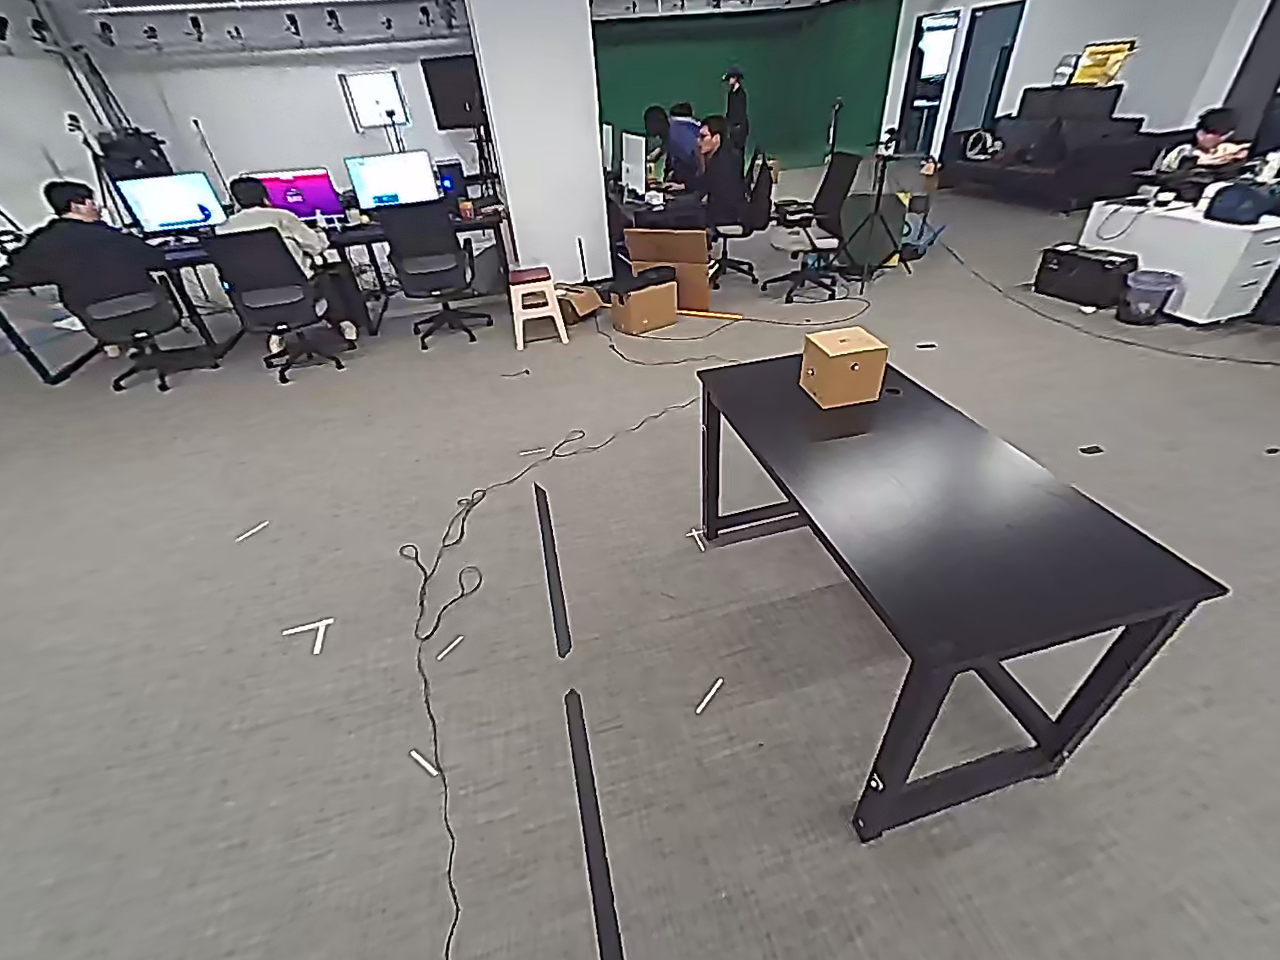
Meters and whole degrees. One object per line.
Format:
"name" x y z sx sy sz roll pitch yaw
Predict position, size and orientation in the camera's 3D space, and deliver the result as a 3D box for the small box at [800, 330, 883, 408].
"small box" 0.588 -0.328 1.605 0.179 0.176 0.168 -10 37 -7
